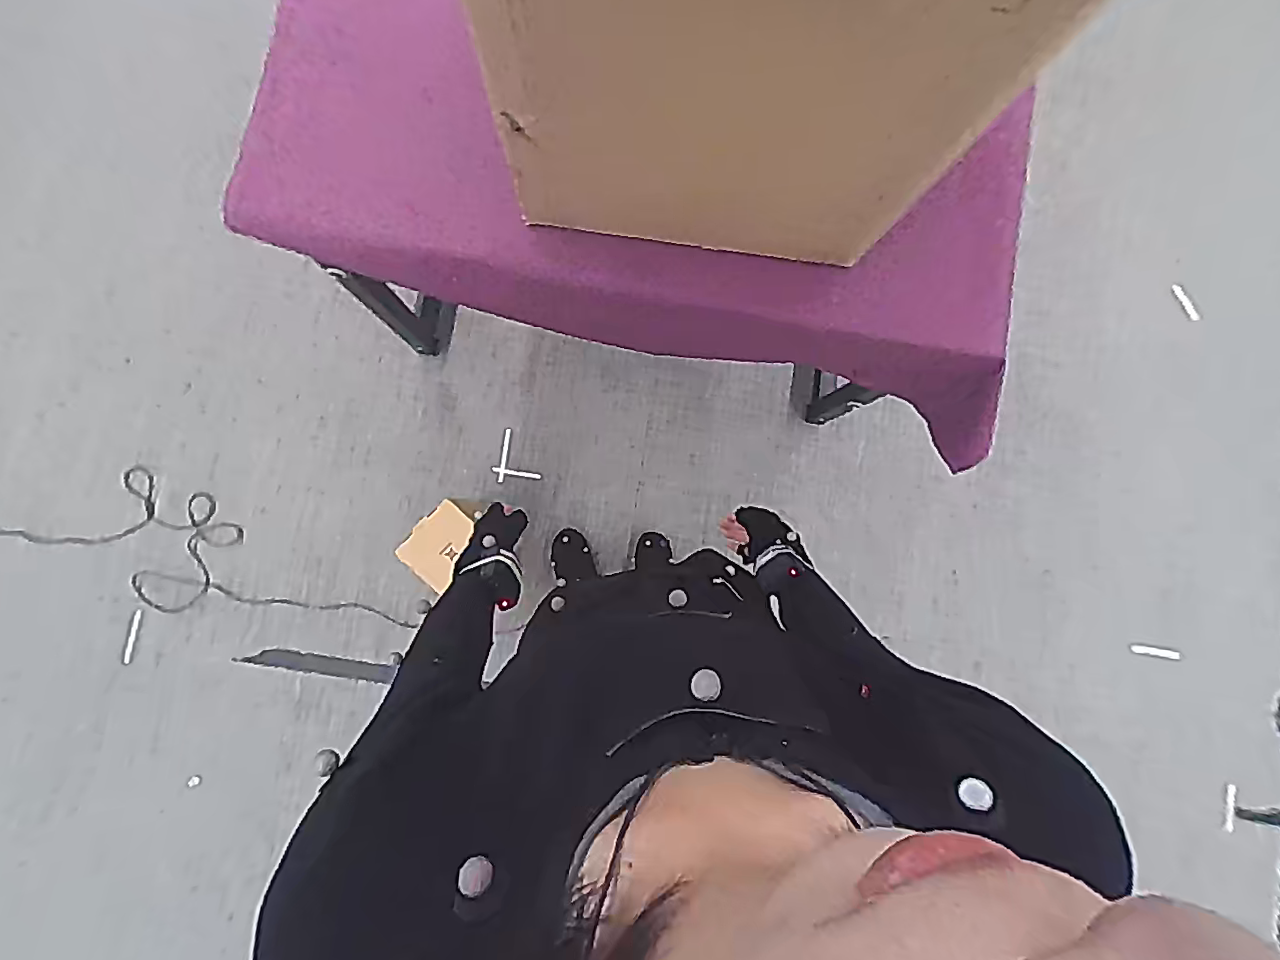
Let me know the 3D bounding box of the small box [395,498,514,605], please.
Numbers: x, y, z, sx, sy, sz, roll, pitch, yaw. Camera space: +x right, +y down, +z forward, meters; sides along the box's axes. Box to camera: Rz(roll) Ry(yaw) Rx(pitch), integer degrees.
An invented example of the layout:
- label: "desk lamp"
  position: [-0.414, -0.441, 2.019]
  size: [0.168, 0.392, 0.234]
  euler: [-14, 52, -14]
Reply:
- label: "small box"
  position: [-0.418, 0.163, 1.251]
  size: [0.179, 0.176, 0.168]
  euler: [42, 84, 0]

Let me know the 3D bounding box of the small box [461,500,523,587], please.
- label: "small box"
  position: [-0.432, 0.172, 1.414]
  size: [0.179, 0.176, 0.168]
  euler: [40, 84, -1]
